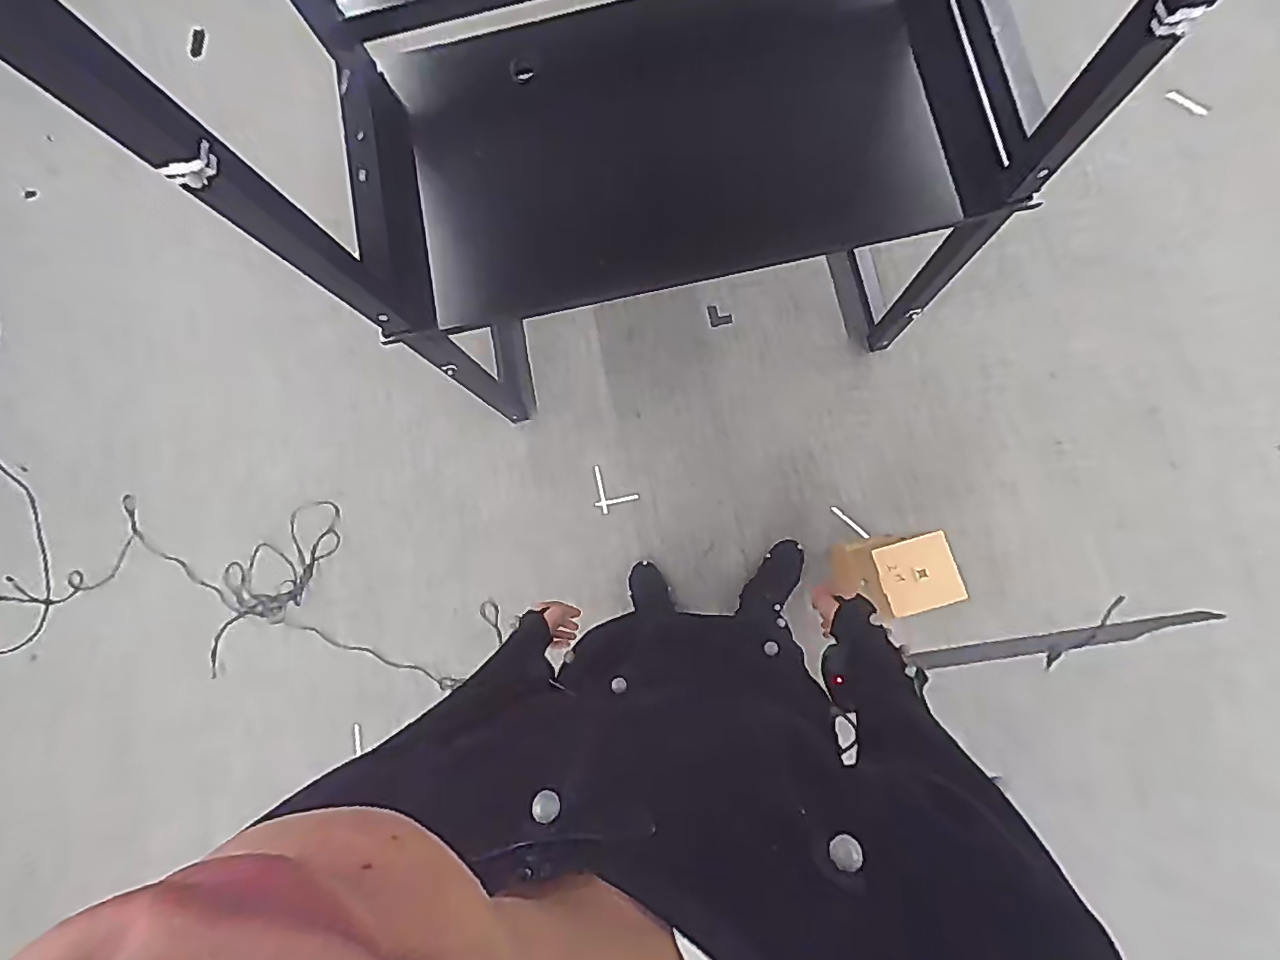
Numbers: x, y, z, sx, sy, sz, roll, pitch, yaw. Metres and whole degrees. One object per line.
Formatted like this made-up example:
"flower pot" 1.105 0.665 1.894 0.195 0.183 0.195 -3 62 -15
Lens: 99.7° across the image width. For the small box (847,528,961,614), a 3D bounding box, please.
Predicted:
"small box" 0.642 0.218 1.335 0.179 0.176 0.168 -17 82 3
